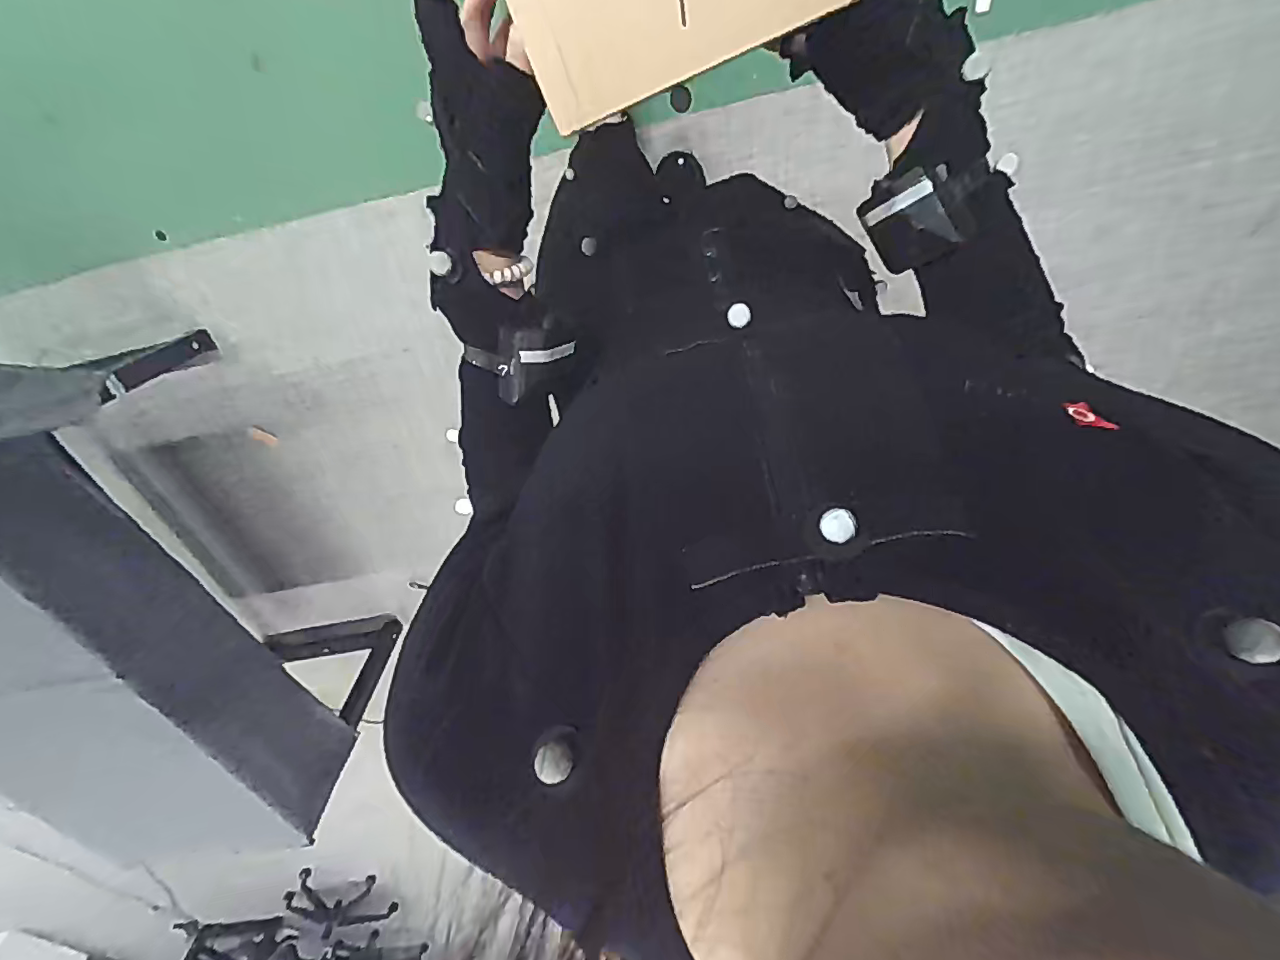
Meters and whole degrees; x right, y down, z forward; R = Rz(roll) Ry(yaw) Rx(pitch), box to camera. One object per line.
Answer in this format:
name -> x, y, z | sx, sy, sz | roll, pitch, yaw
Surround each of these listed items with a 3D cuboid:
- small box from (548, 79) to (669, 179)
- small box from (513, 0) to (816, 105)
small box -> -0.070, -0.744, 1.095 | 0.179, 0.176, 0.168 | 31, 135, 1
small box -> -0.001, -0.333, 0.296 | 0.168, 0.176, 0.179 | -17, 124, 11
